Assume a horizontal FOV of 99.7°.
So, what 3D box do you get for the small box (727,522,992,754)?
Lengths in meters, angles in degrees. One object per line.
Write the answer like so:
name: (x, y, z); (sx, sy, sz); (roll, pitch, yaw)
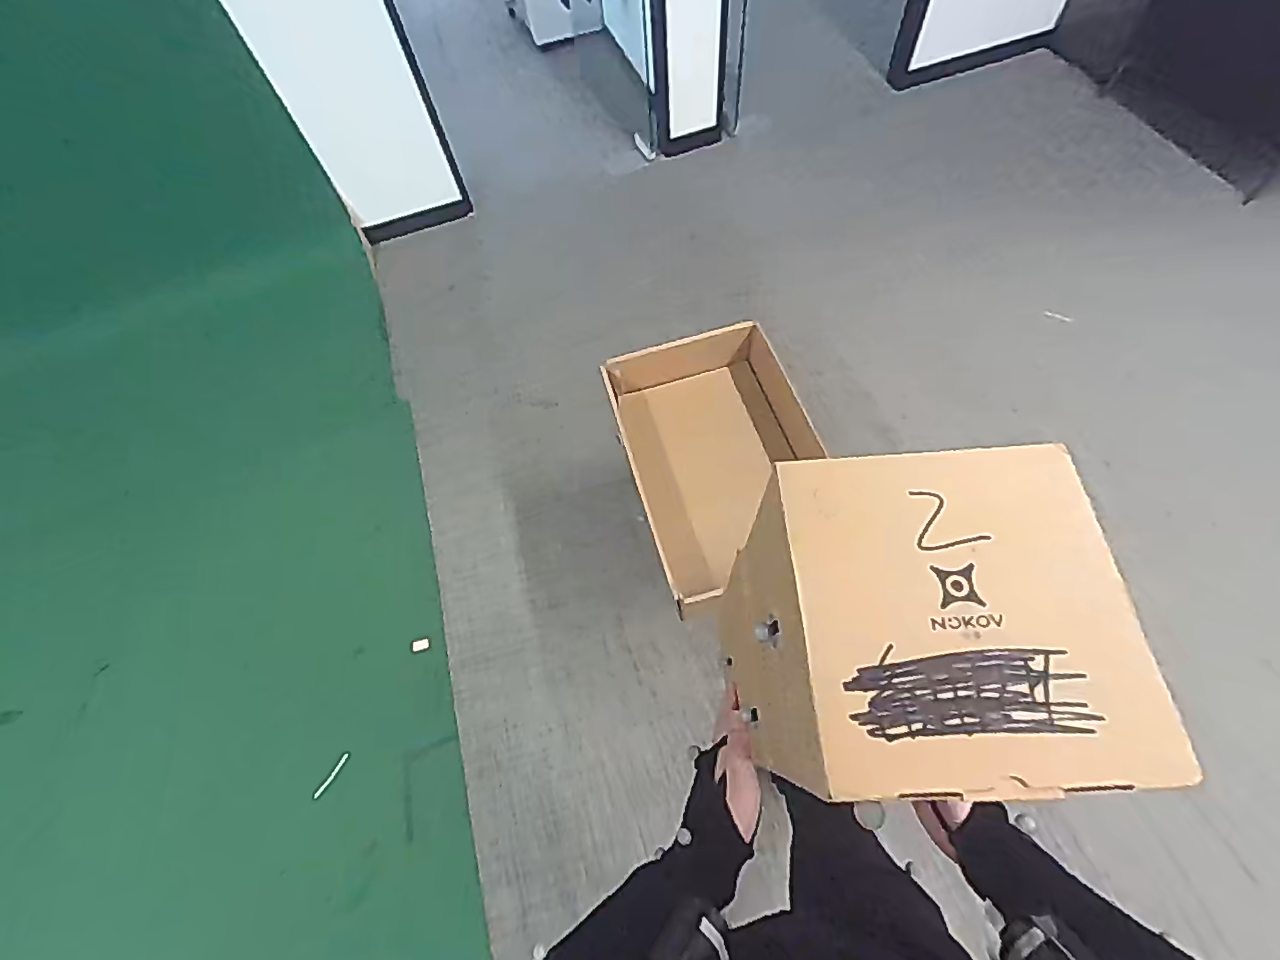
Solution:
small box: (0.179, 0.153, 0.508); (0.168, 0.176, 0.179); (-5, 66, 2)
